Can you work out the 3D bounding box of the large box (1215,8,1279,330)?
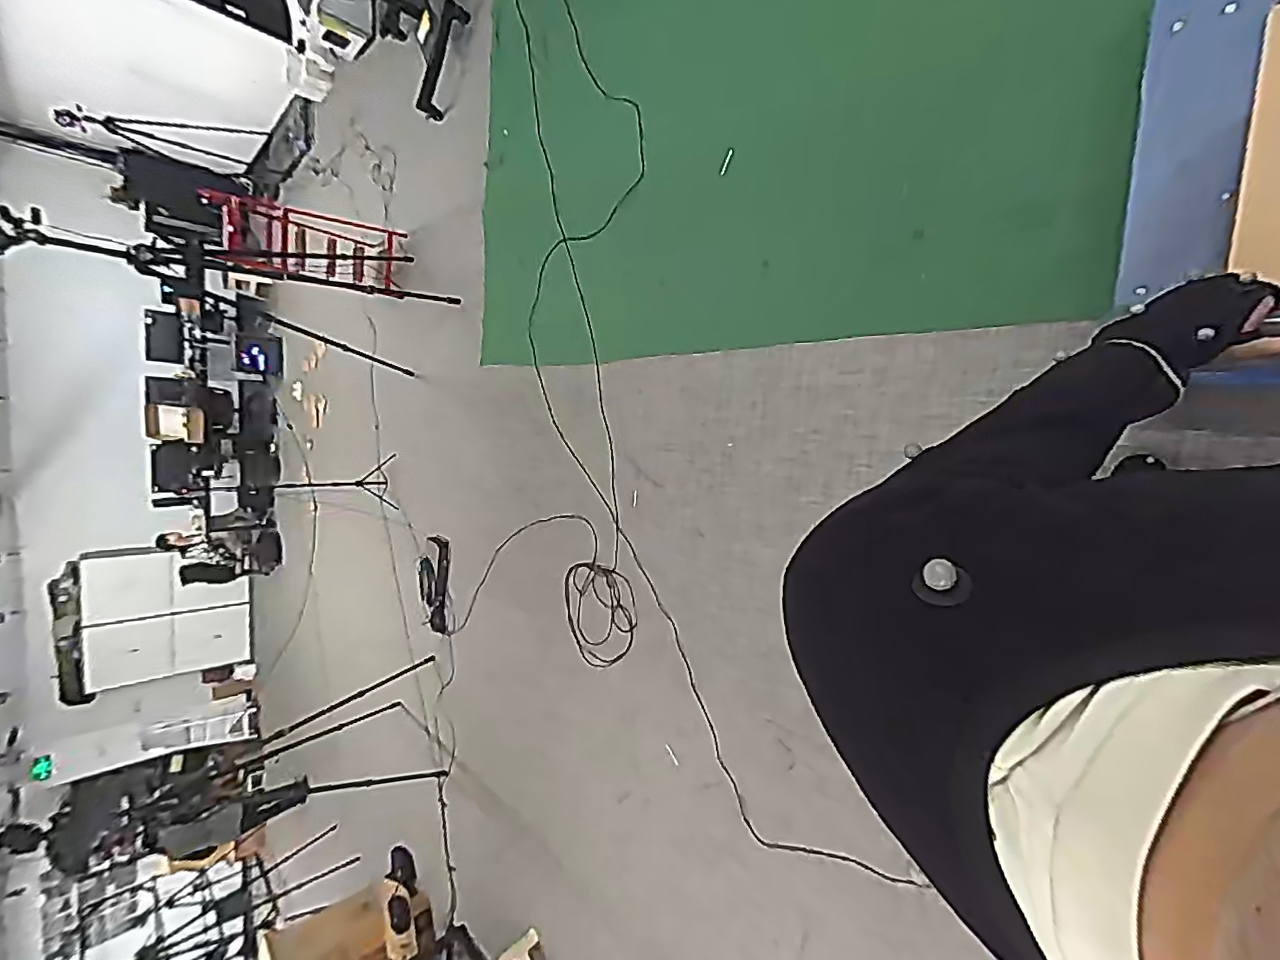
[{"bbox_3d":[1.095,-0.465,0.798,0.320,0.320,0.408,8,96,43],"label":"large box"}]
